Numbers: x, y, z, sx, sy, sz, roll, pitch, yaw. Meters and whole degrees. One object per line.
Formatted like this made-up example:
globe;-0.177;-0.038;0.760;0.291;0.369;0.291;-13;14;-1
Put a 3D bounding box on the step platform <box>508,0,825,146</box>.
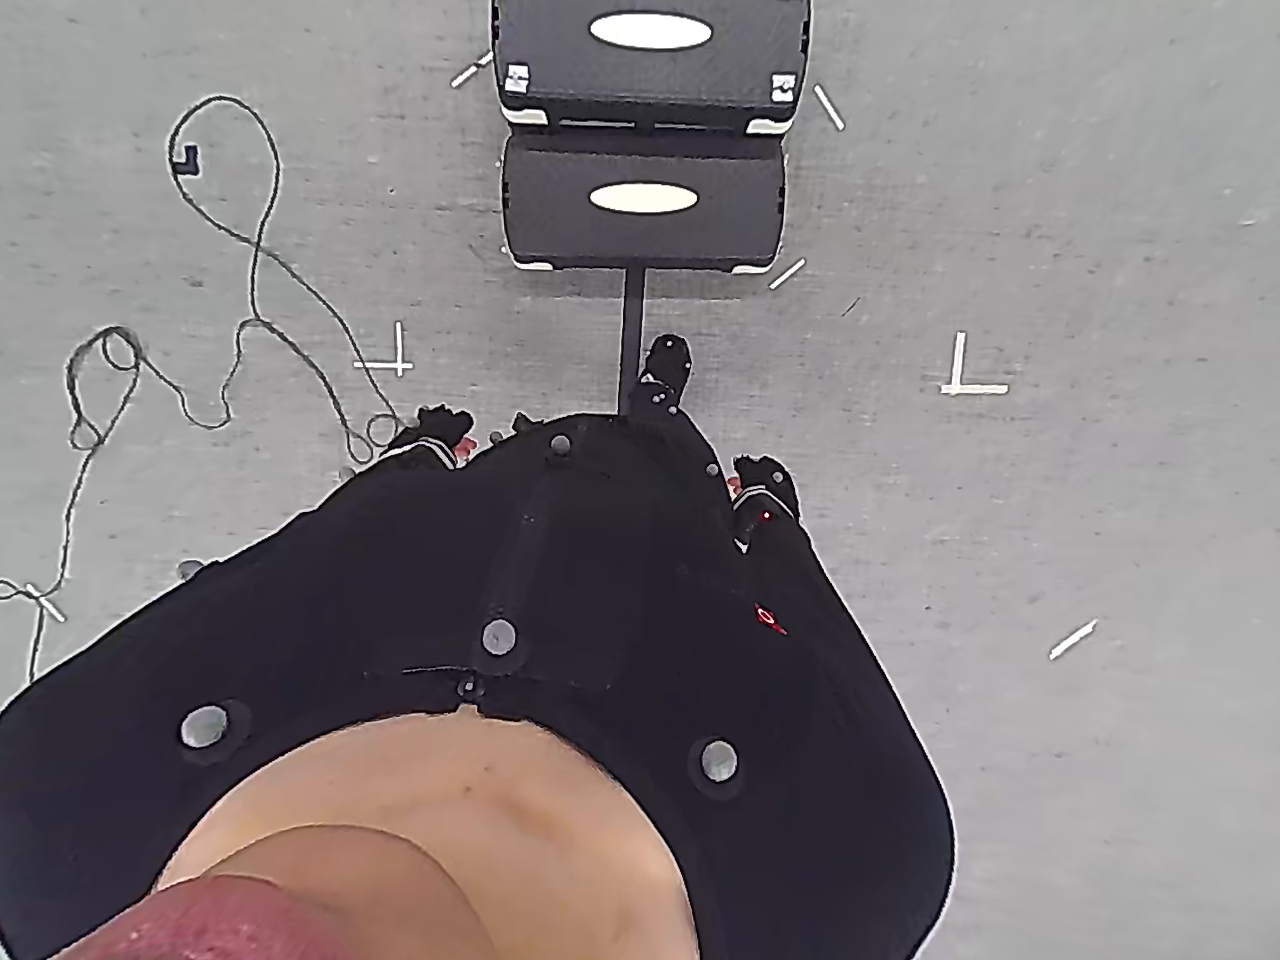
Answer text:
step platform;0.055;-0.952;1.212;0.684;0.204;0.286;1;100;-1
